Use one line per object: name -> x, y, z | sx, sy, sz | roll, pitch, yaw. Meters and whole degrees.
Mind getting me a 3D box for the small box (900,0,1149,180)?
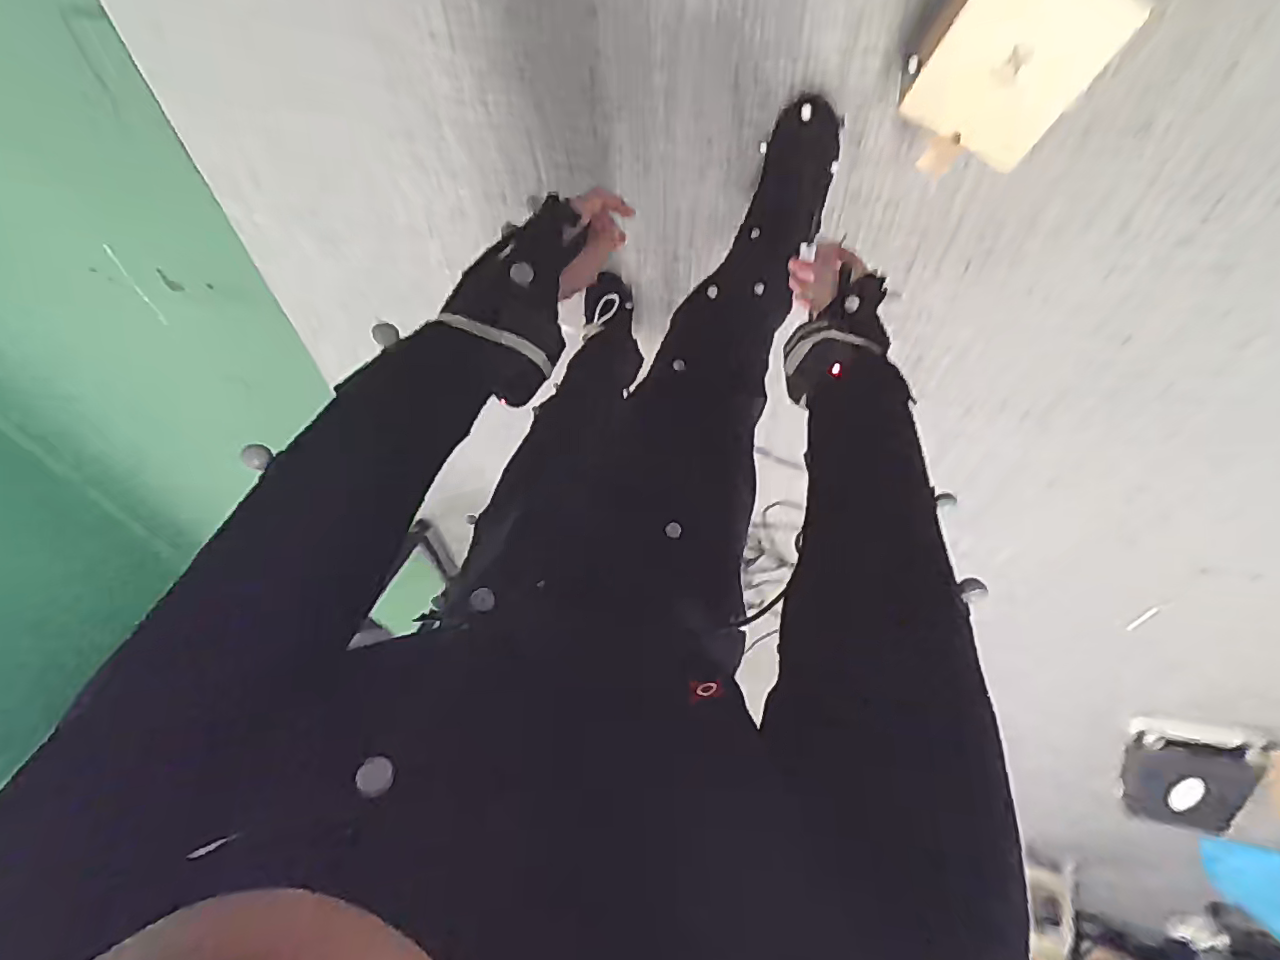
small box -> 0.444, -0.518, 0.658 | 0.168, 0.176, 0.179 | 27, 143, -4
